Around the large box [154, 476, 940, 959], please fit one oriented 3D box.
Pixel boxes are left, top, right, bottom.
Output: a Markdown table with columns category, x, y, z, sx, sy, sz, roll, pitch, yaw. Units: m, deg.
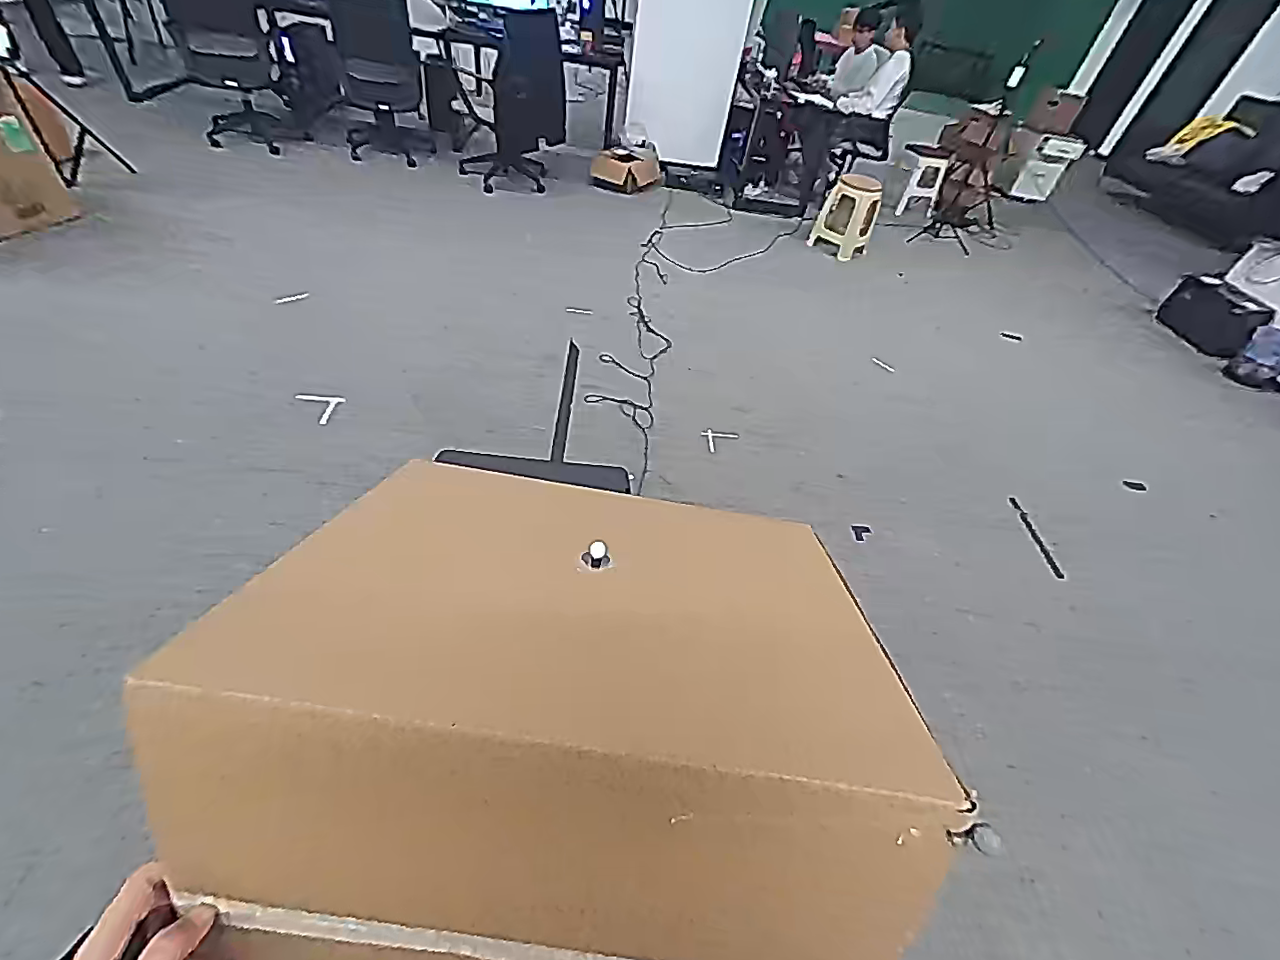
| category | x | y | z | sx | sy | sz | roll | pitch | yaw |
| --- | --- | --- | --- | --- | --- | --- | --- | --- | --- |
| large box | -0.061 | 0.210 | 0.460 | 0.408 | 0.320 | 0.320 | 9 | 22 | -1 |
